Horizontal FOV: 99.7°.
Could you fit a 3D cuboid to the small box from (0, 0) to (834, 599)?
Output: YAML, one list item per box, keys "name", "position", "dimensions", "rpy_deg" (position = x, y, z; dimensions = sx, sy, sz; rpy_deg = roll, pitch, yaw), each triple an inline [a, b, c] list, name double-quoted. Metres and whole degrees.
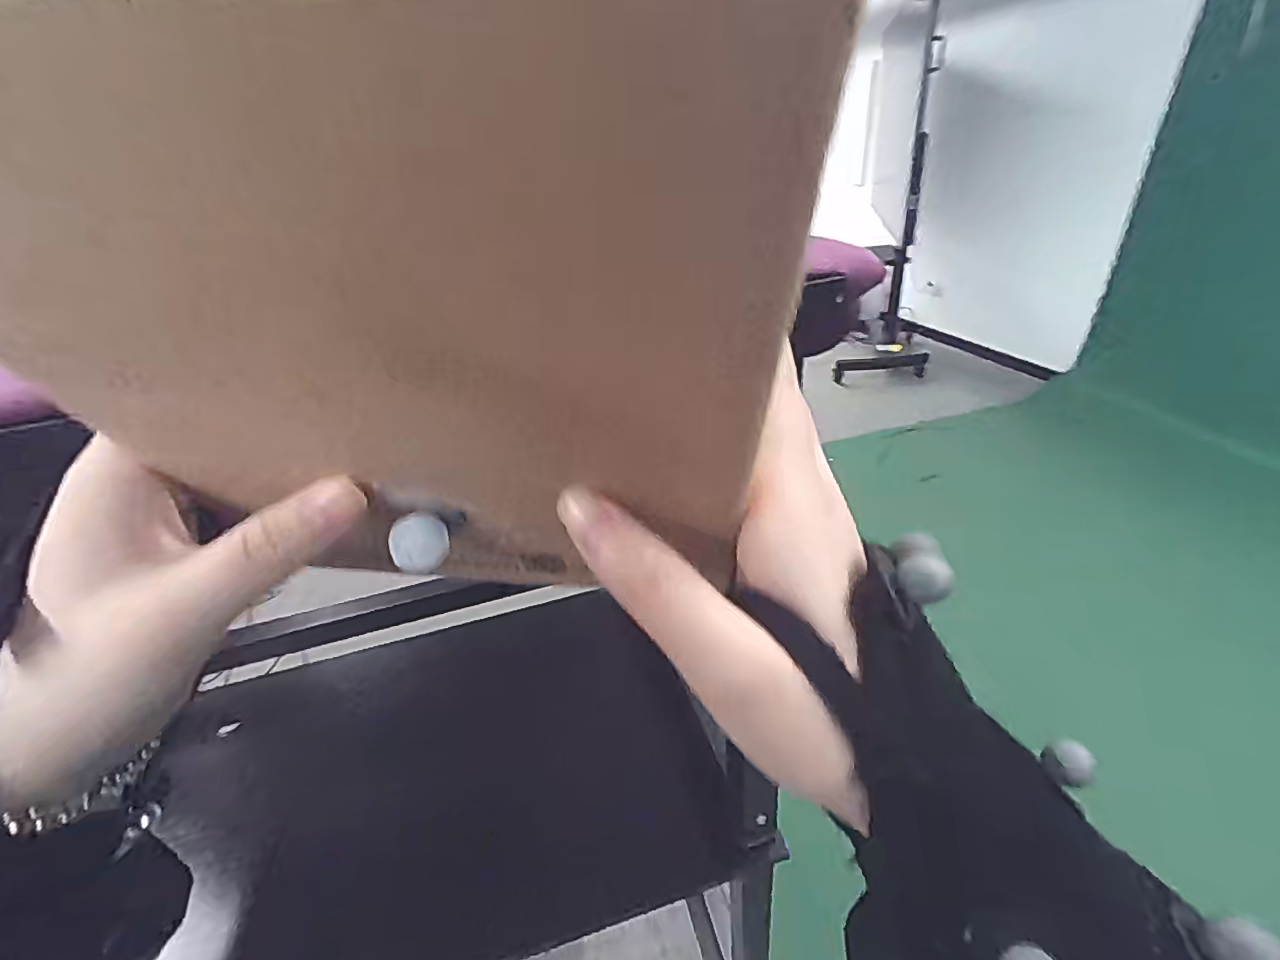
- name: "small box"
  position: [-0.048, -0.080, 0.171]
  dimensions: [0.168, 0.176, 0.179]
  rpy_deg: [4, 58, 6]
